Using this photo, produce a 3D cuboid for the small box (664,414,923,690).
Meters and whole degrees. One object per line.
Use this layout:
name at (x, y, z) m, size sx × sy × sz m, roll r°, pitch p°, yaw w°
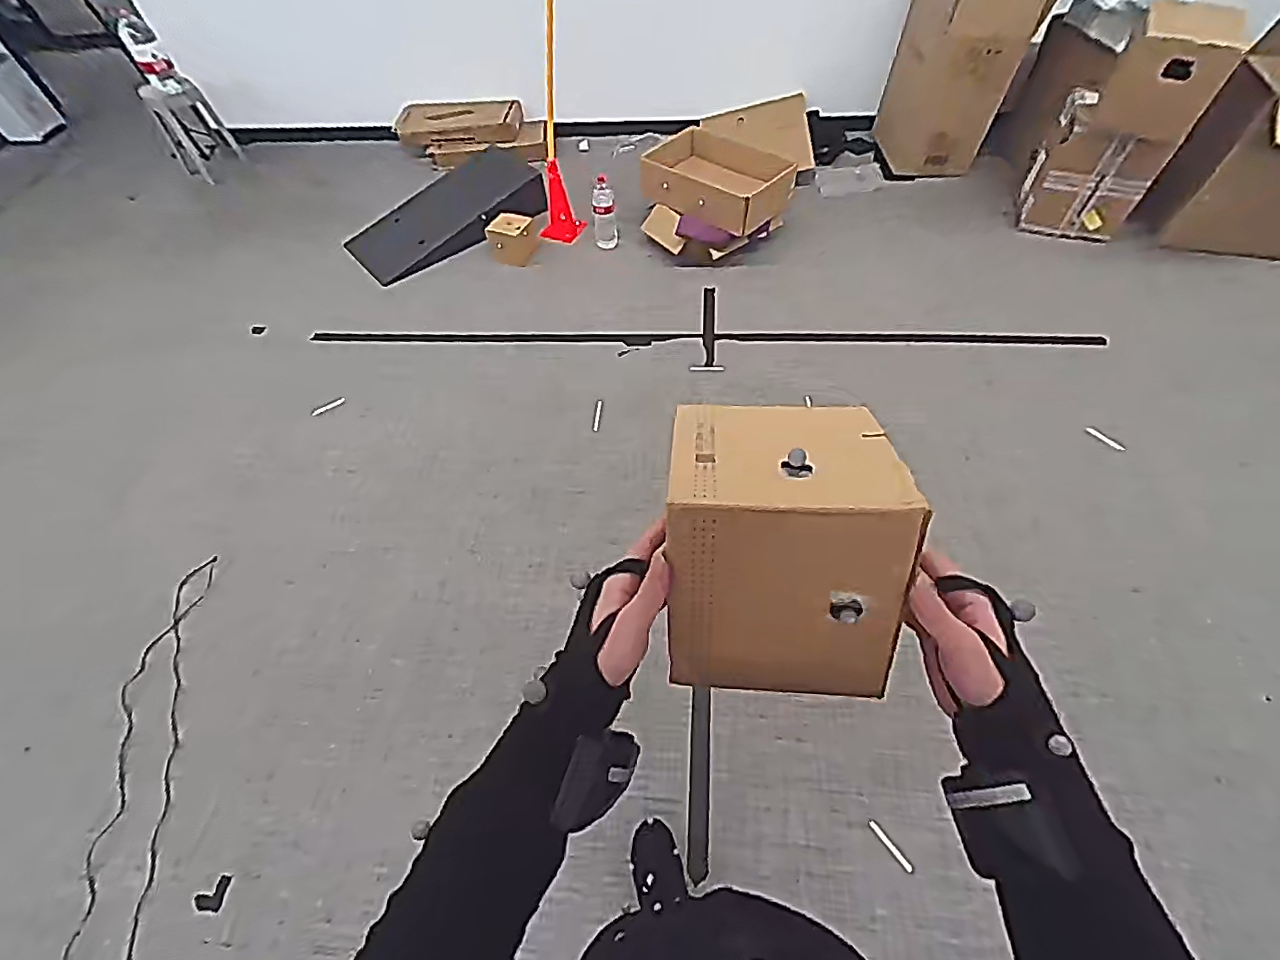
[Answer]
small box at (0.107, 0.053, 0.459) m, size 0.176 × 0.179 × 0.168 m, roll 2°, pitch 28°, yaw 6°
